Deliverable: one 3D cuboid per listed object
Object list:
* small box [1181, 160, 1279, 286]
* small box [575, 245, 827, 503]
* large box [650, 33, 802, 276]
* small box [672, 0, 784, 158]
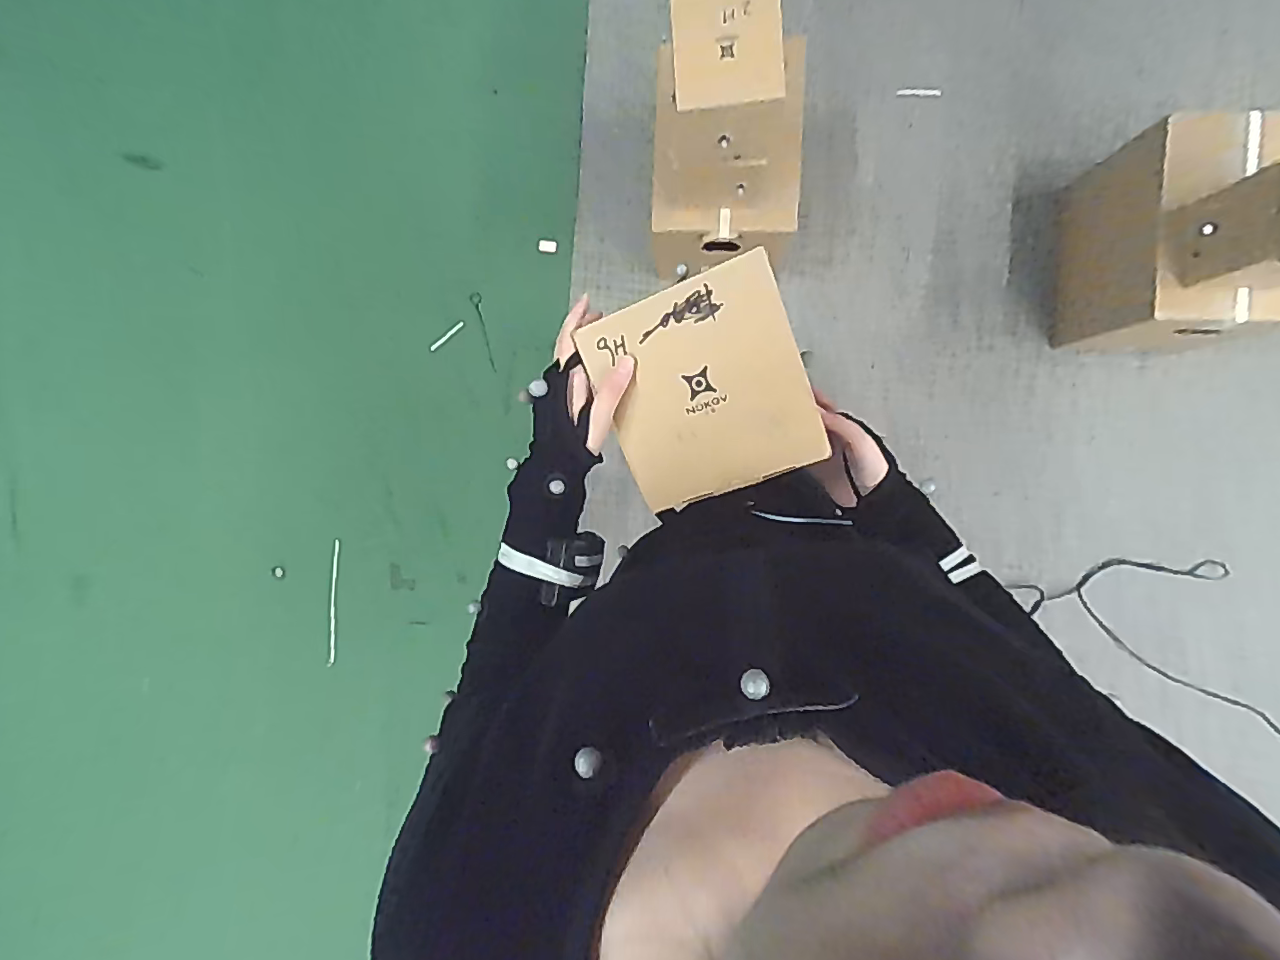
[{"bbox_3d":[1.157,-0.460,0.983,0.179,0.176,0.168,1,93,6],"label":"small box"},{"bbox_3d":[0.065,-0.107,0.518,0.168,0.176,0.179,-19,107,17],"label":"small box"},{"bbox_3d":[0.195,-0.739,1.290,0.320,0.320,0.408,3,92,5],"label":"large box"},{"bbox_3d":[0.140,-0.658,0.889,0.168,0.176,0.179,-3,91,5],"label":"small box"}]
